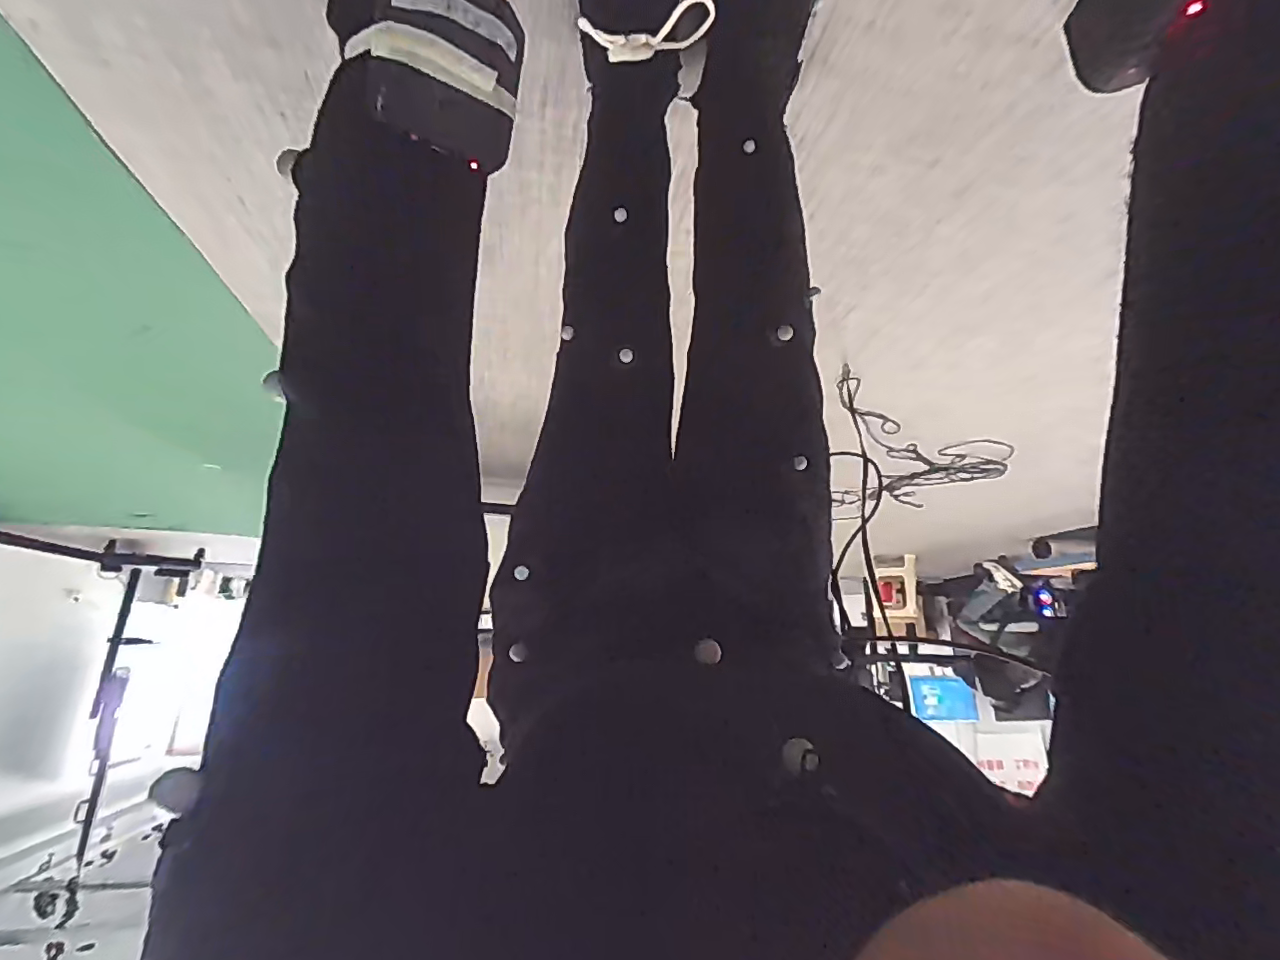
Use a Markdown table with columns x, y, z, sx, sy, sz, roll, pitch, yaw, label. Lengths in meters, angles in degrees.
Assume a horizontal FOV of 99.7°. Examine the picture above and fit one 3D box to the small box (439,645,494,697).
| x | y | z | sx | sy | sz | roll | pitch | yaw | label |
| --- | --- | --- | --- | --- | --- | --- | --- | --- | --- |
| -0.619 | 0.683 | 1.939 | 0.168 | 0.176 | 0.179 | 5 | 162 | -12 | small box |
